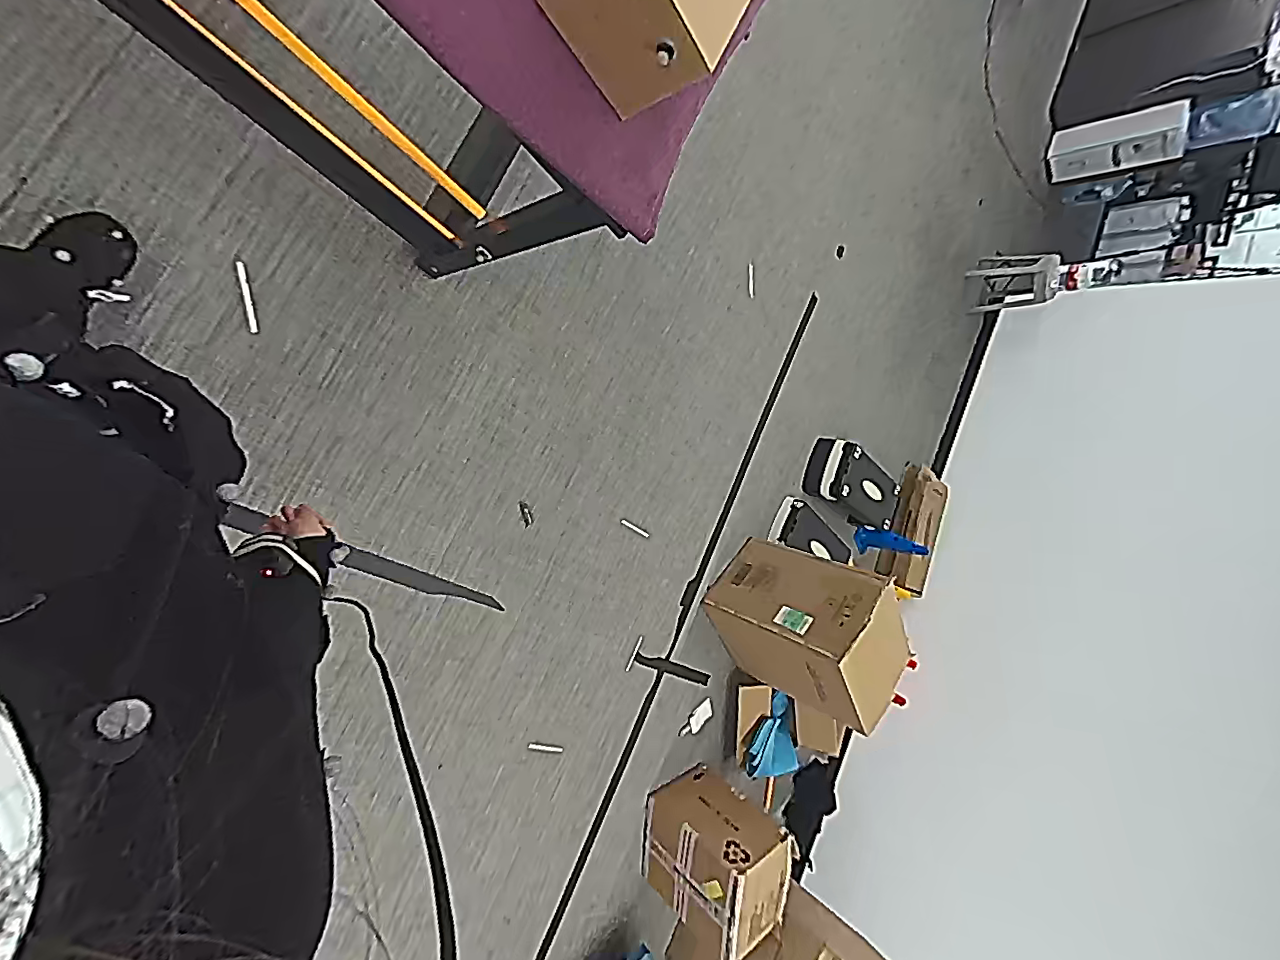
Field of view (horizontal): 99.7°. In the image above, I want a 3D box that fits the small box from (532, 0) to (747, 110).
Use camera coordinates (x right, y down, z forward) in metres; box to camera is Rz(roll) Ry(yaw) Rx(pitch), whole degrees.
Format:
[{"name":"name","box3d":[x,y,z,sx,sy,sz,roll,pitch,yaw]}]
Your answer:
[{"name":"small box","box3d":[0.002,-0.605,0.675,0.179,0.176,0.168,37,72,-41]}]
